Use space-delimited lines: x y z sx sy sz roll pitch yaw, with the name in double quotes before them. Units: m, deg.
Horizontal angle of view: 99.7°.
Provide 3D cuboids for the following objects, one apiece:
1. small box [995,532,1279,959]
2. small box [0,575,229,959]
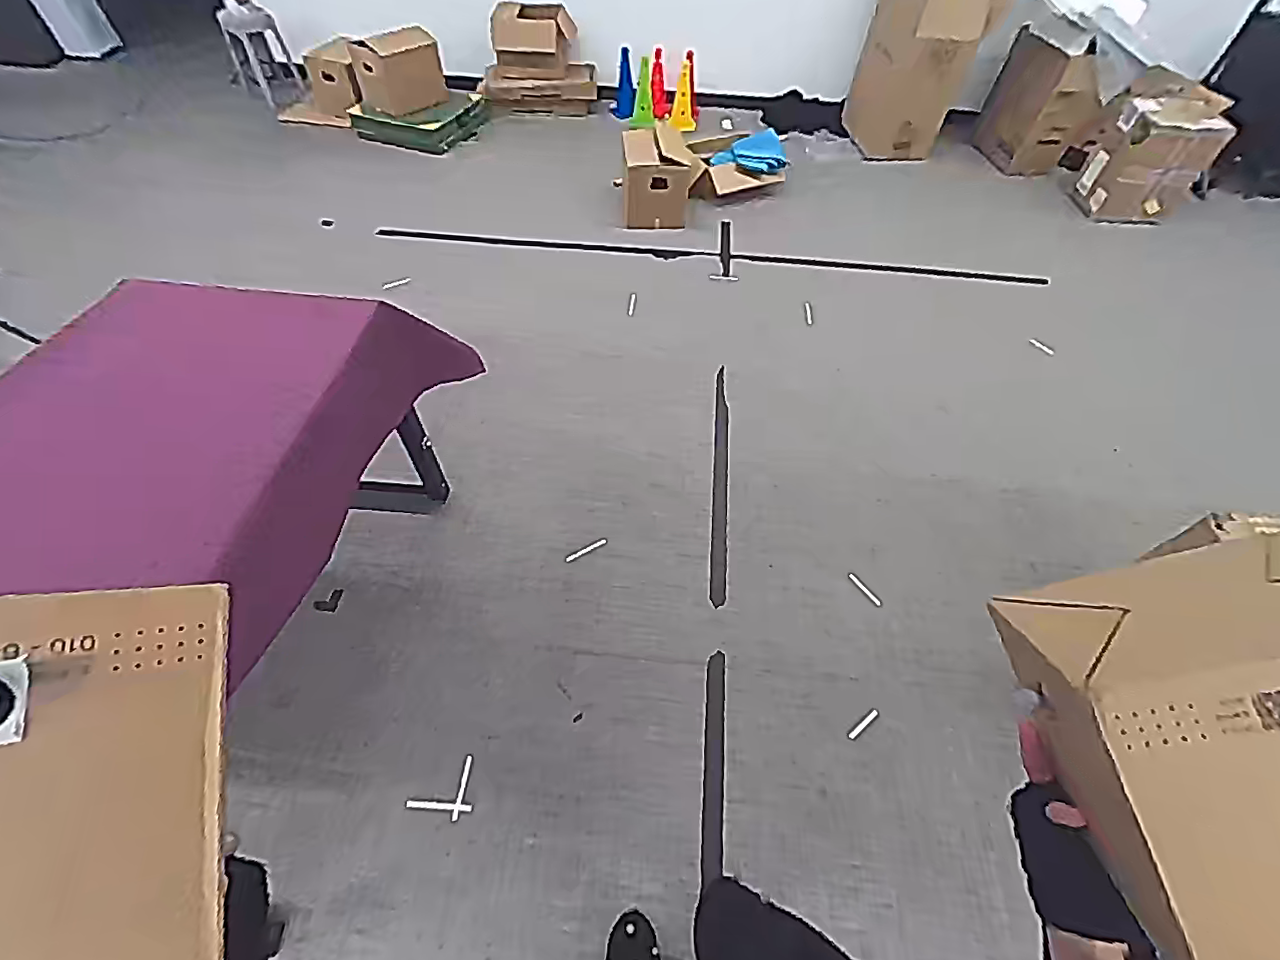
"small box" 0.313 0.132 0.275 0.168 0.179 0.176 -22 84 21
"small box" -0.286 0.139 0.231 0.168 0.179 0.176 2 70 -41
